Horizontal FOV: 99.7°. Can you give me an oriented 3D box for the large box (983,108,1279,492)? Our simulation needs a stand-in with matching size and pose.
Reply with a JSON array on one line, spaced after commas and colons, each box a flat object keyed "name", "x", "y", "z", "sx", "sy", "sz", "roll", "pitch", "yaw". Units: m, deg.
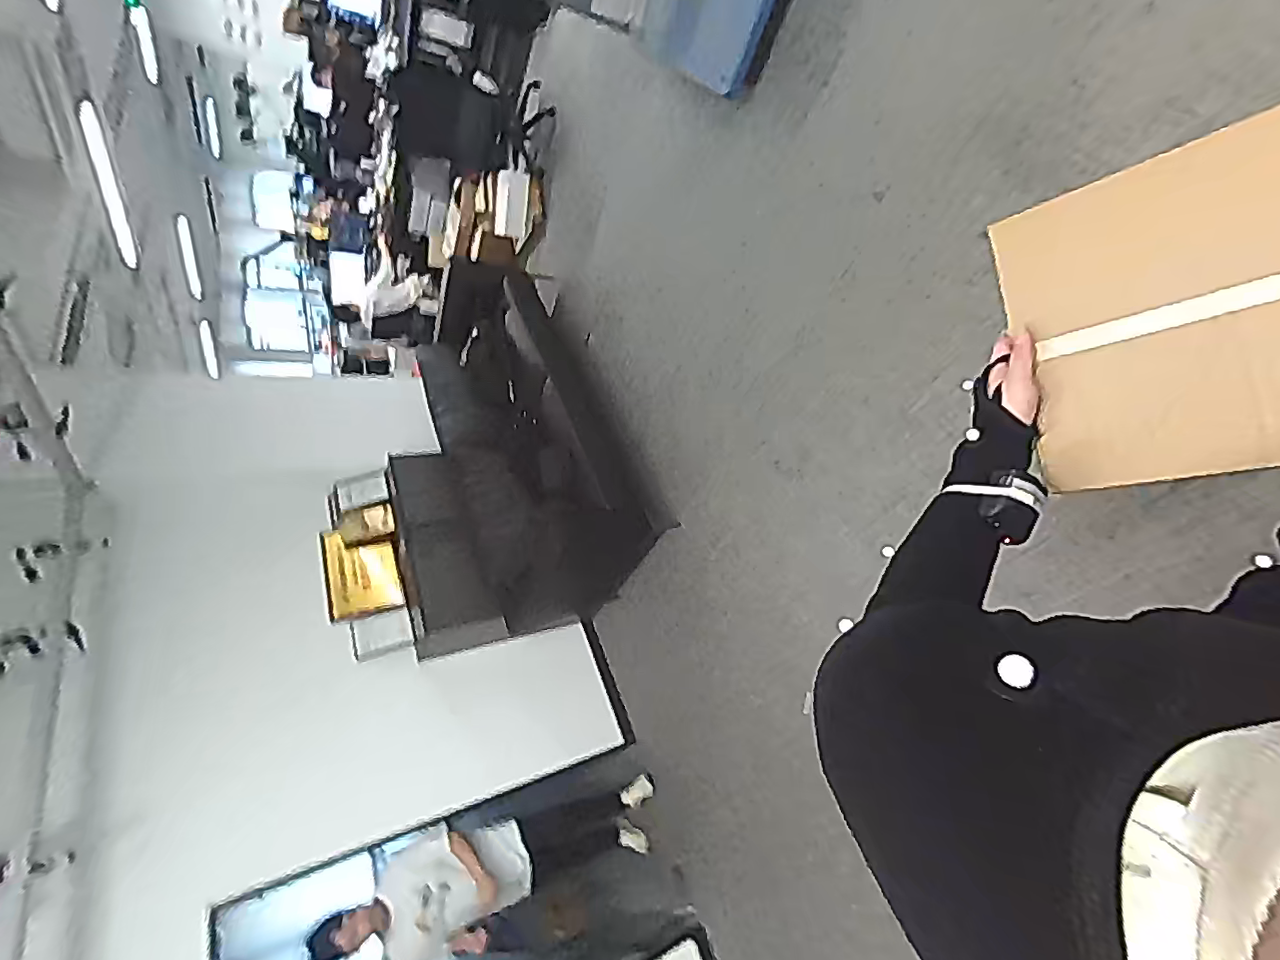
[{"name": "large box", "x": 0.664, "y": -0.174, "z": 0.596, "sx": 0.408, "sy": 0.320, "sz": 0.320, "roll": -15, "pitch": 81, "yaw": 40}]
